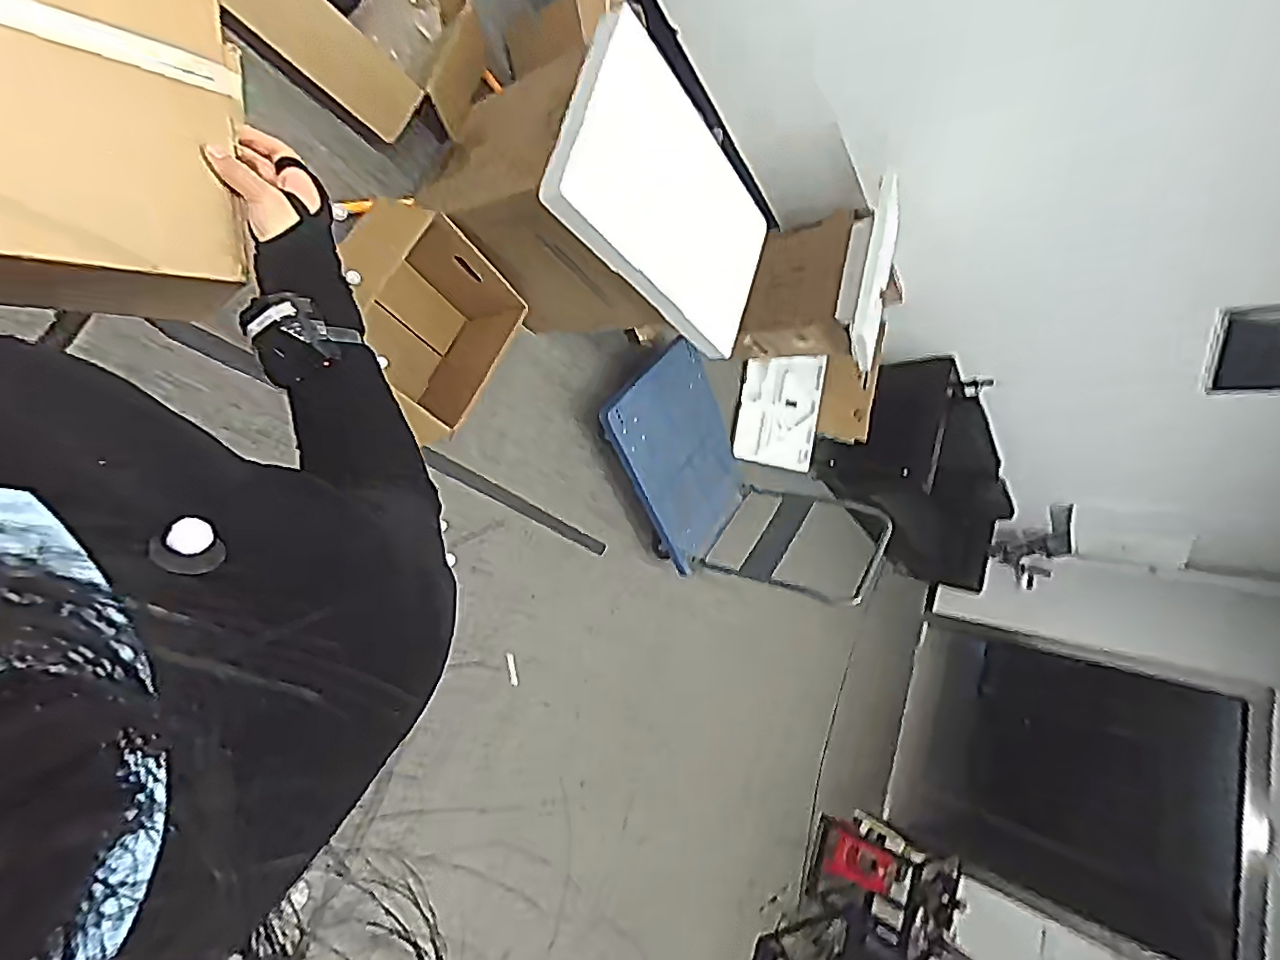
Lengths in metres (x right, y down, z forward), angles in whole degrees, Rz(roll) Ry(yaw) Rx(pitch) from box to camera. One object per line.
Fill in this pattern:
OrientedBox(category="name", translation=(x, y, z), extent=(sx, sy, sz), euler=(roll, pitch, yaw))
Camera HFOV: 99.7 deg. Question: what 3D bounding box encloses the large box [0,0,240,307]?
OrientedBox(category="large box", translation=(-0.593, -0.321, 0.418), extent=(0.408, 0.320, 0.320), euler=(-9, 101, -43))
